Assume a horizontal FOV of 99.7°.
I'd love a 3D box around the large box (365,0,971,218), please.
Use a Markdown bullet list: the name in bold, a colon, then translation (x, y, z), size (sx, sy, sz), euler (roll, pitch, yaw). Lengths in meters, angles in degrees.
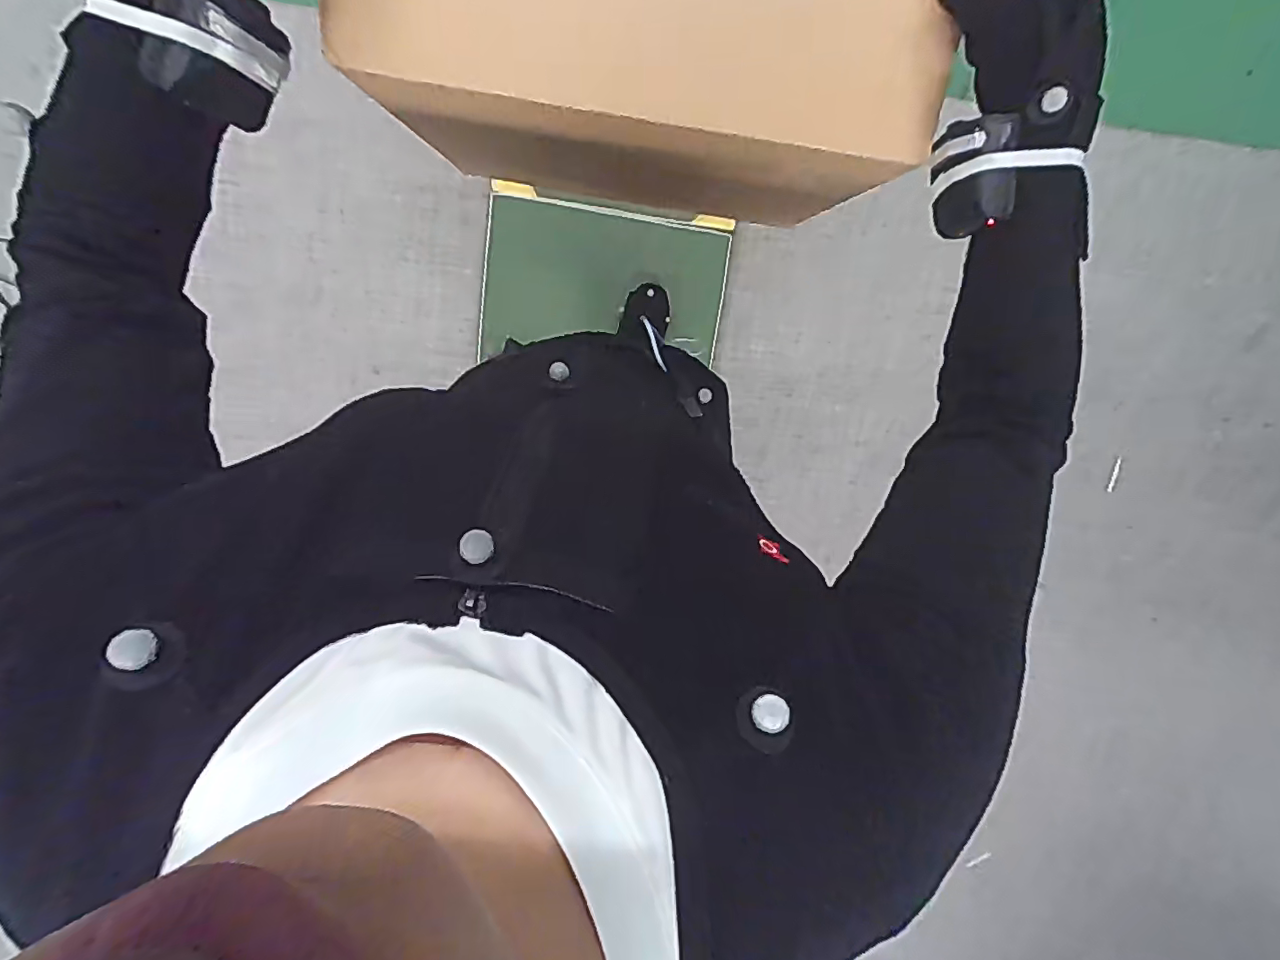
- **large box**: translation (0.025, -0.443, 0.470), size (0.408, 0.320, 0.320), euler (6, 108, -5)
